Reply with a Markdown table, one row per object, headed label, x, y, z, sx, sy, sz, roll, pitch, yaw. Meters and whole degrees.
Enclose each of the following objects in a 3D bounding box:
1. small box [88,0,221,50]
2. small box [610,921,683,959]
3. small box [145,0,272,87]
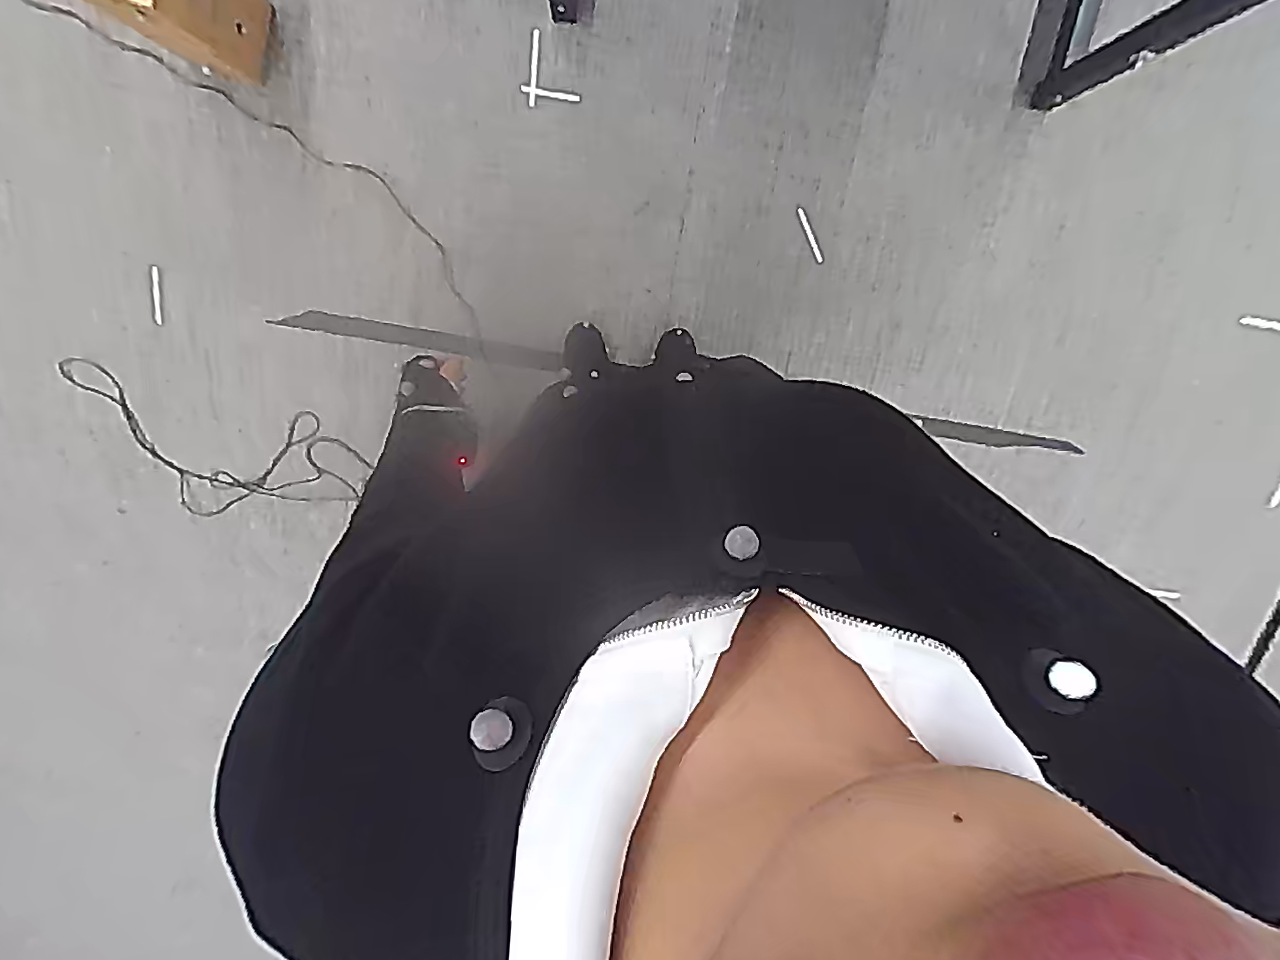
| label | x | y | z | sx | sy | sz | roll | pitch | yaw |
| --- | --- | --- | --- | --- | --- | --- | --- | --- | --- |
| small box | -0.886 | -0.916 | 0.964 | 0.179 | 0.176 | 0.168 | 13 | 104 | -5 |
| small box | 0.015 | 1.189 | 1.269 | 0.168 | 0.176 | 0.179 | 4 | 101 | -5 |
| small box | -0.901 | -0.968 | 1.120 | 0.168 | 0.176 | 0.179 | 16 | 105 | -6 |
